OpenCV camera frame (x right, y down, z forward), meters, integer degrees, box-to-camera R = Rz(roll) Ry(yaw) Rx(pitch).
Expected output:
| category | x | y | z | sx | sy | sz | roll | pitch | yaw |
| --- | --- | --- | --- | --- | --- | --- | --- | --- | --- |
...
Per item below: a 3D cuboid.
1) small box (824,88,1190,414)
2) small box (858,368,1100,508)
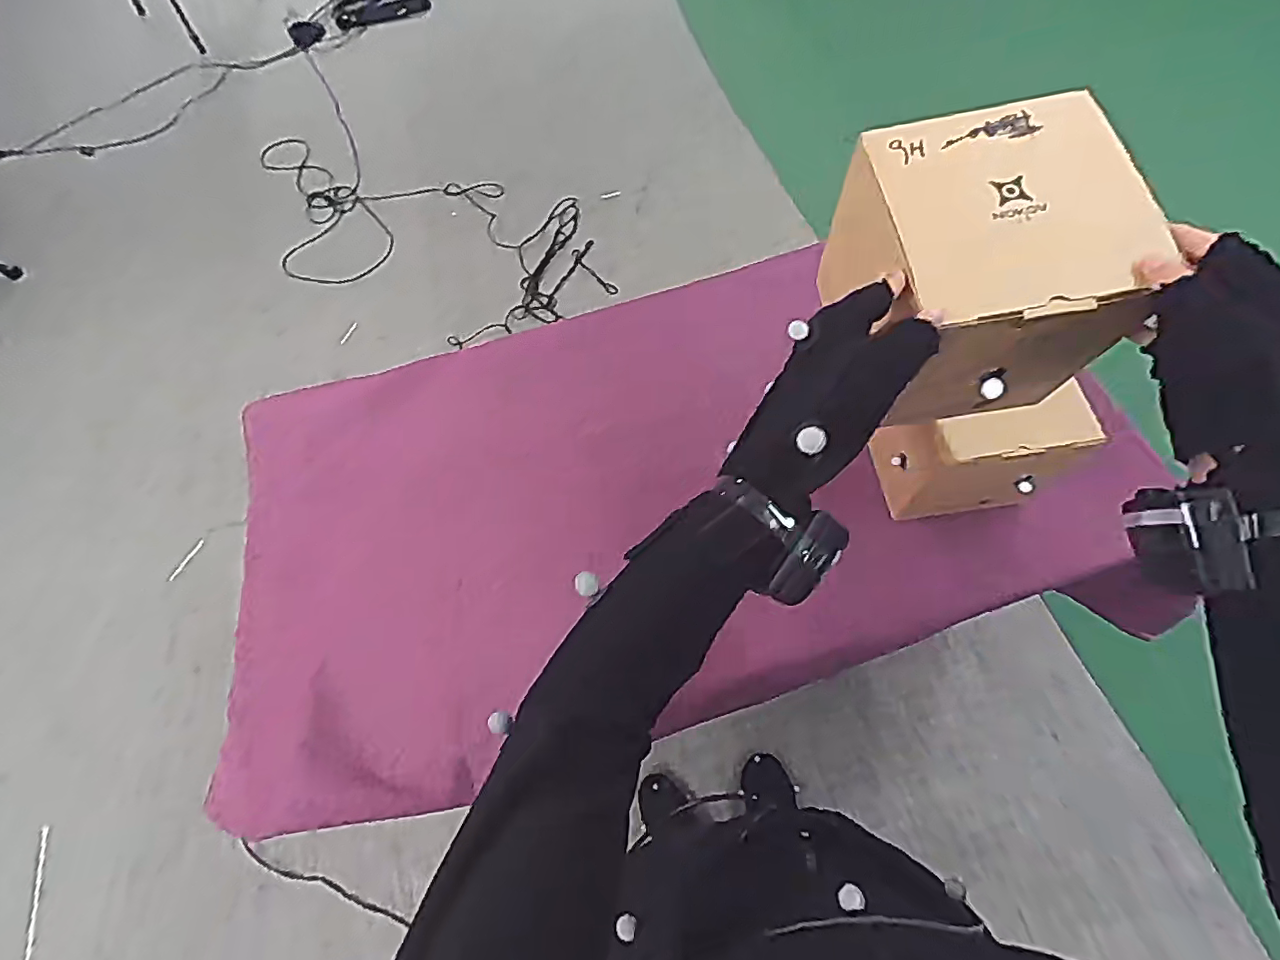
| category | x | y | z | sx | sy | sz | roll | pitch | yaw |
| --- | --- | --- | --- | --- | --- | --- | --- | --- | --- |
| small box | 0.266 | -0.167 | 0.447 | 0.168 | 0.176 | 0.179 | -9 | 71 | 4 |
| small box | 0.384 | -0.075 | 0.652 | 0.168 | 0.176 | 0.179 | -8 | 65 | 4 |
